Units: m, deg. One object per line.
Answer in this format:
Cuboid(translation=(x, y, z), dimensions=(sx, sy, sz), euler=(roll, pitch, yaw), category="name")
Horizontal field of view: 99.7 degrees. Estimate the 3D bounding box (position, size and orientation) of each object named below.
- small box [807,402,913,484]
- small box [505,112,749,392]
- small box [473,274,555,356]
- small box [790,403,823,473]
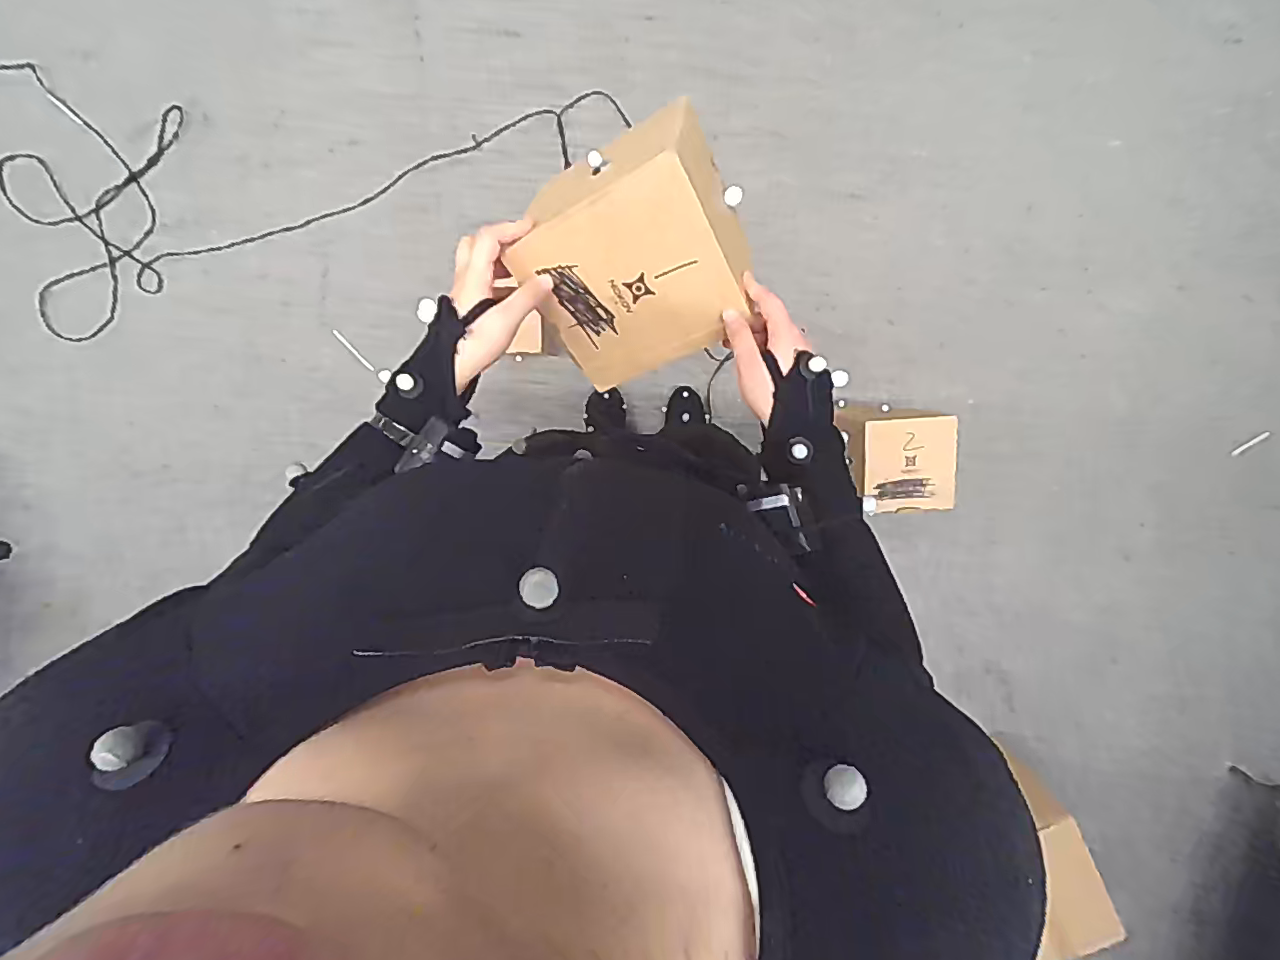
Cuboid(translation=(0.489, -0.087, 1.231), dimensions=(0.179, 0.176, 0.168), euler=(-1, 103, 0), category="small box")
Cuboid(translation=(-0.001, -0.225, 0.546), dimensions=(0.179, 0.176, 0.168), euler=(-18, 132, 25), category="small box")
Cuboid(translation=(-0.306, -0.403, 1.342), dimensions=(0.168, 0.176, 0.179), euler=(1, 101, 1), category="small box")
Cuboid(translation=(0.493, -0.109, 1.392), dimensions=(0.179, 0.176, 0.168), euler=(2, 102, 1), category="small box")
